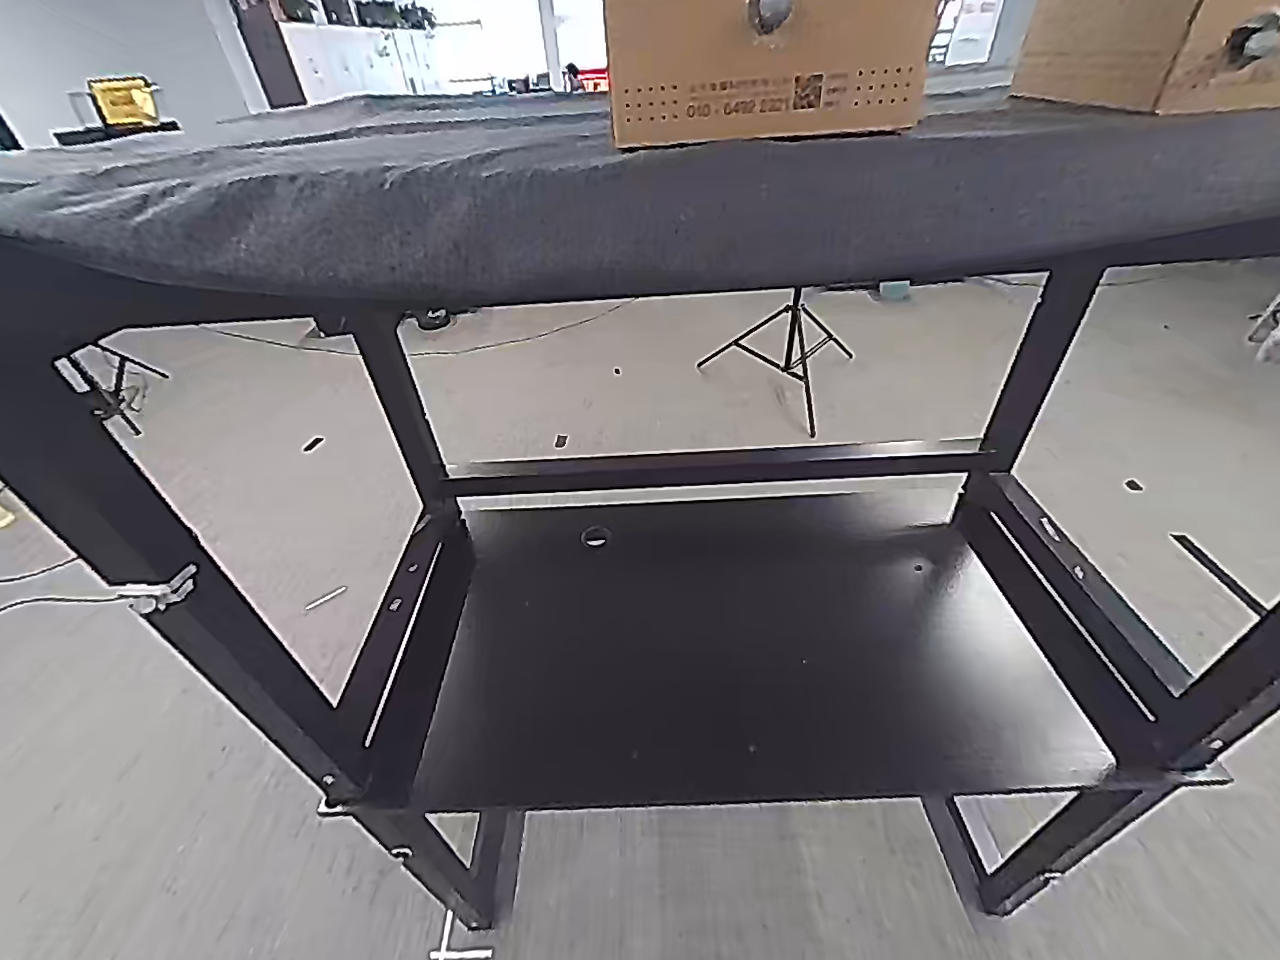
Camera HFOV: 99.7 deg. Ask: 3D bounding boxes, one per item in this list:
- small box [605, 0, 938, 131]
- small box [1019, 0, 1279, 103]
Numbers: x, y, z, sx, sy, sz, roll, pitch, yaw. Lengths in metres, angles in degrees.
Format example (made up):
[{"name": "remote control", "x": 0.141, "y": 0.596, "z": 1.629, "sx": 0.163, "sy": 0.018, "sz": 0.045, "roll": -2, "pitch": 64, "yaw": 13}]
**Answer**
[{"name": "small box", "x": 0.064, "y": -0.307, "z": 0.312, "sx": 0.168, "sy": 0.176, "sz": 0.179, "roll": -3, "pitch": 37, "yaw": 2}, {"name": "small box", "x": 0.363, "y": -0.323, "z": 0.306, "sx": 0.168, "sy": 0.176, "sz": 0.179, "roll": 0, "pitch": 37, "yaw": 5}]
